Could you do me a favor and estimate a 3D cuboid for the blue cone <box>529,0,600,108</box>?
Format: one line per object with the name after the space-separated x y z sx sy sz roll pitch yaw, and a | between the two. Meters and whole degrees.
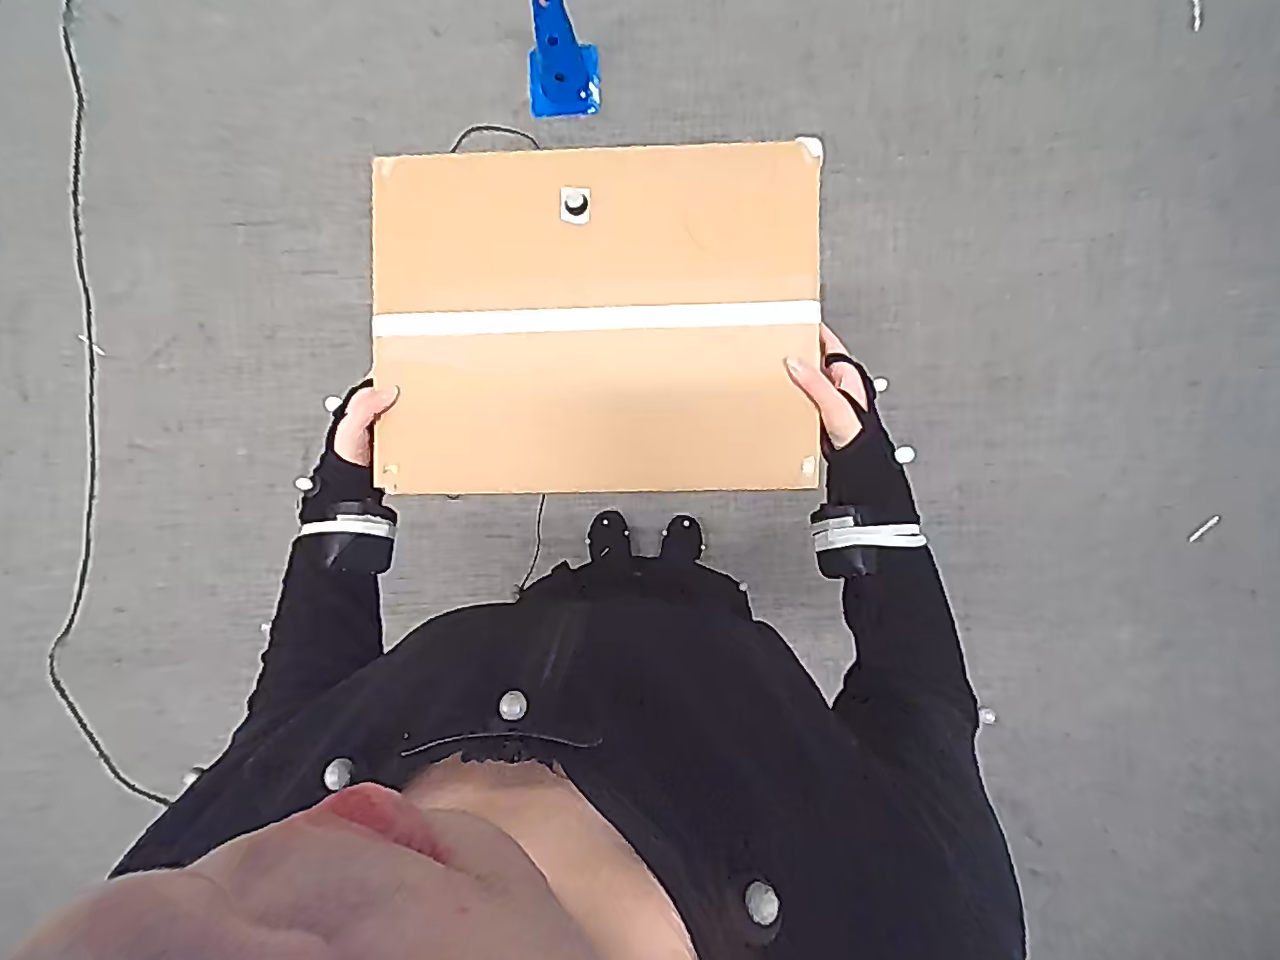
-0.214 -1.139 1.341 0.193 0.380 0.192 -4 89 0 | blue cone
